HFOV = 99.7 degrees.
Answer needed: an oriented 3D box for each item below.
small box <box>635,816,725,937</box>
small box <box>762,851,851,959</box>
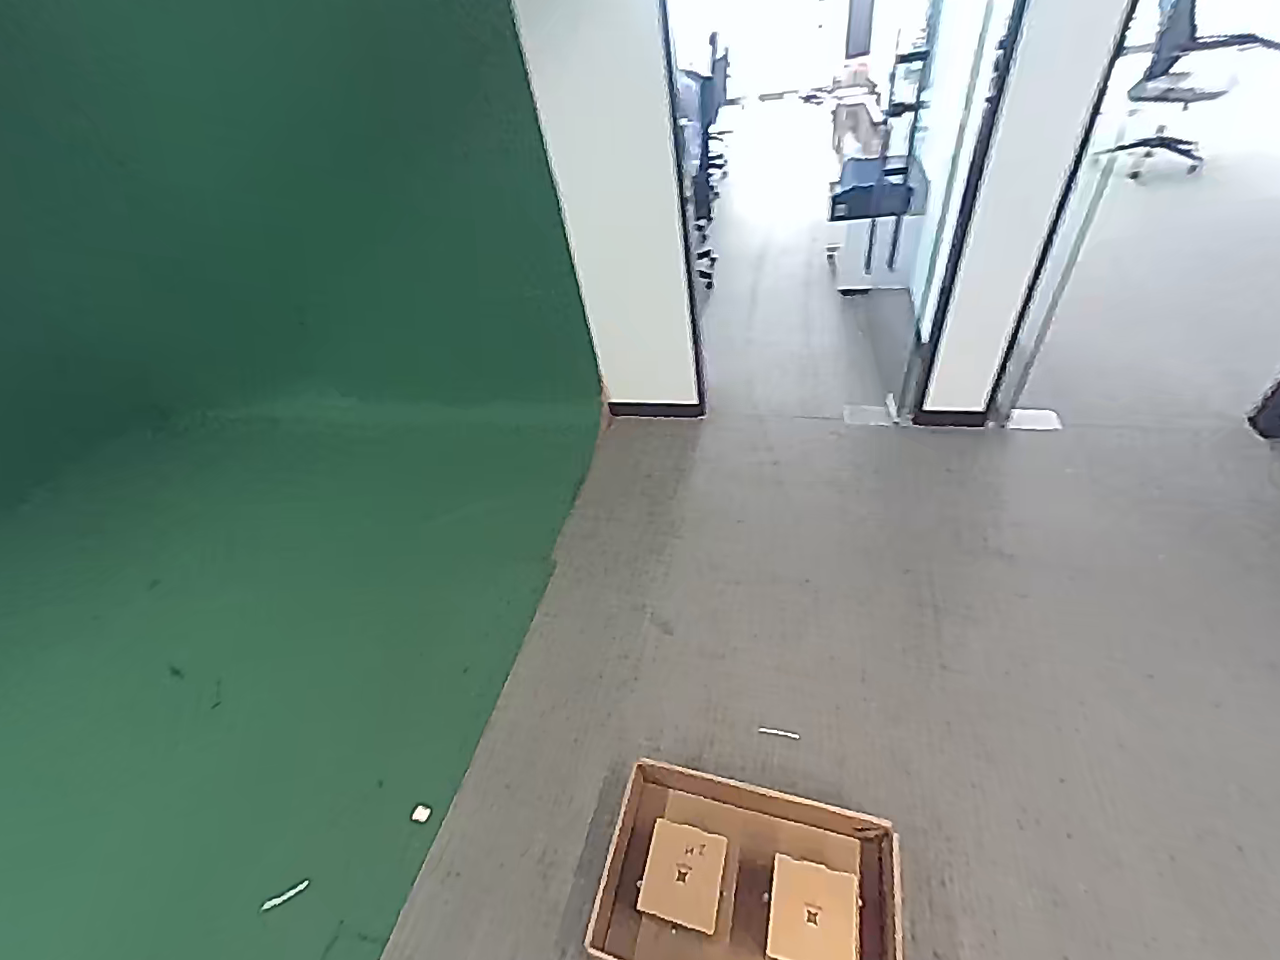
[{"bbox_3d":[0.100,0.907,1.233,0.168,0.176,0.179,7,47,17],"label":"small box"},{"bbox_3d":[0.355,0.935,1.157,0.168,0.176,0.179,5,46,17],"label":"small box"}]
